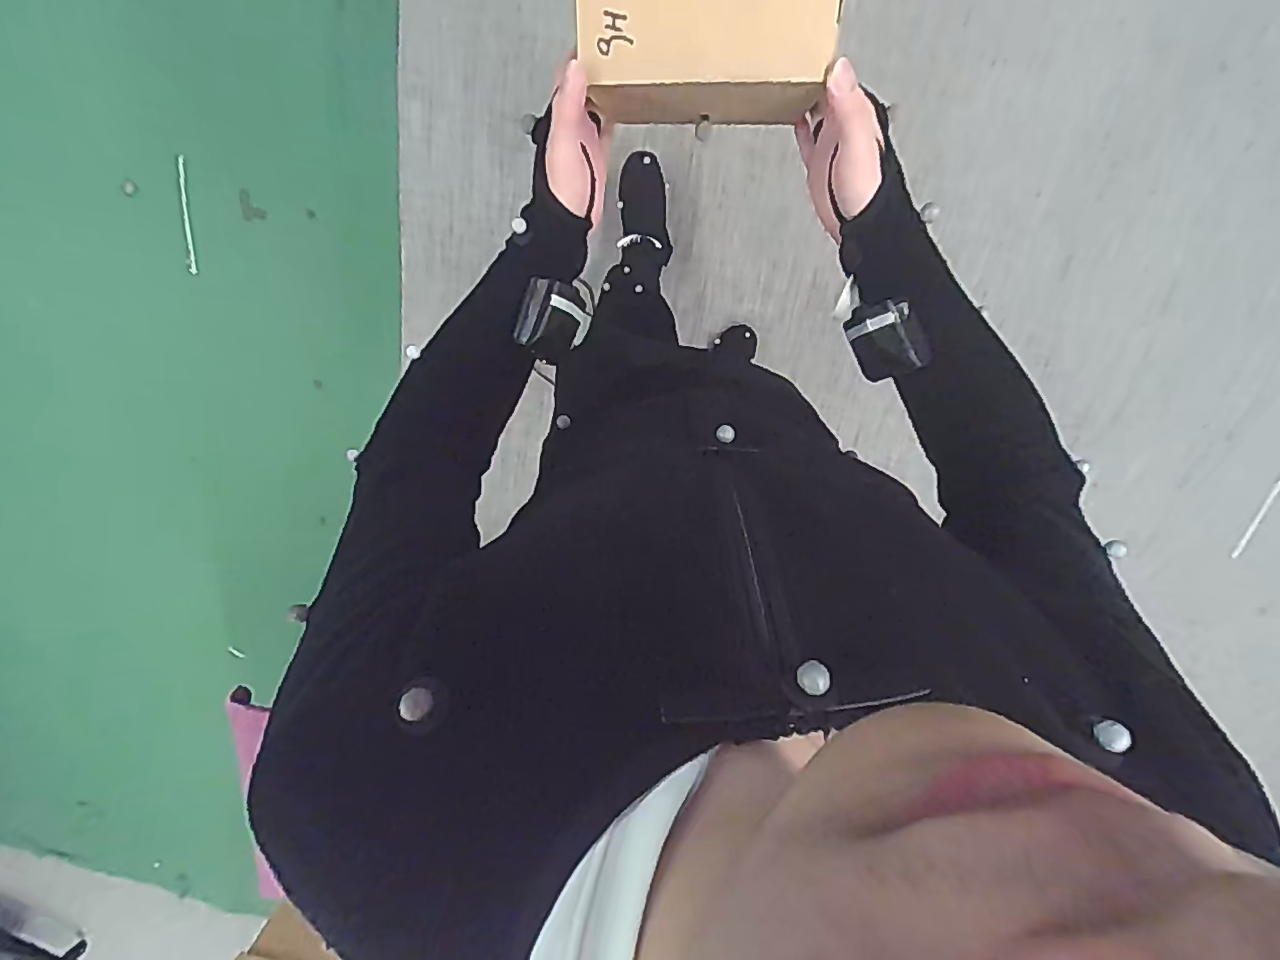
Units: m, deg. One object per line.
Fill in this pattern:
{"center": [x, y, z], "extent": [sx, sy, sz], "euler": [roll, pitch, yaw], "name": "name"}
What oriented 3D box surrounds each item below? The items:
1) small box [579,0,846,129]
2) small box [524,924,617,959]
{"center": [0.053, -0.378, 0.409], "extent": [0.179, 0.176, 0.168], "euler": [3, 114, 5], "name": "small box"}
{"center": [-0.151, 1.004, 1.039], "extent": [0.179, 0.176, 0.168], "euler": [10, 111, 3], "name": "small box"}
